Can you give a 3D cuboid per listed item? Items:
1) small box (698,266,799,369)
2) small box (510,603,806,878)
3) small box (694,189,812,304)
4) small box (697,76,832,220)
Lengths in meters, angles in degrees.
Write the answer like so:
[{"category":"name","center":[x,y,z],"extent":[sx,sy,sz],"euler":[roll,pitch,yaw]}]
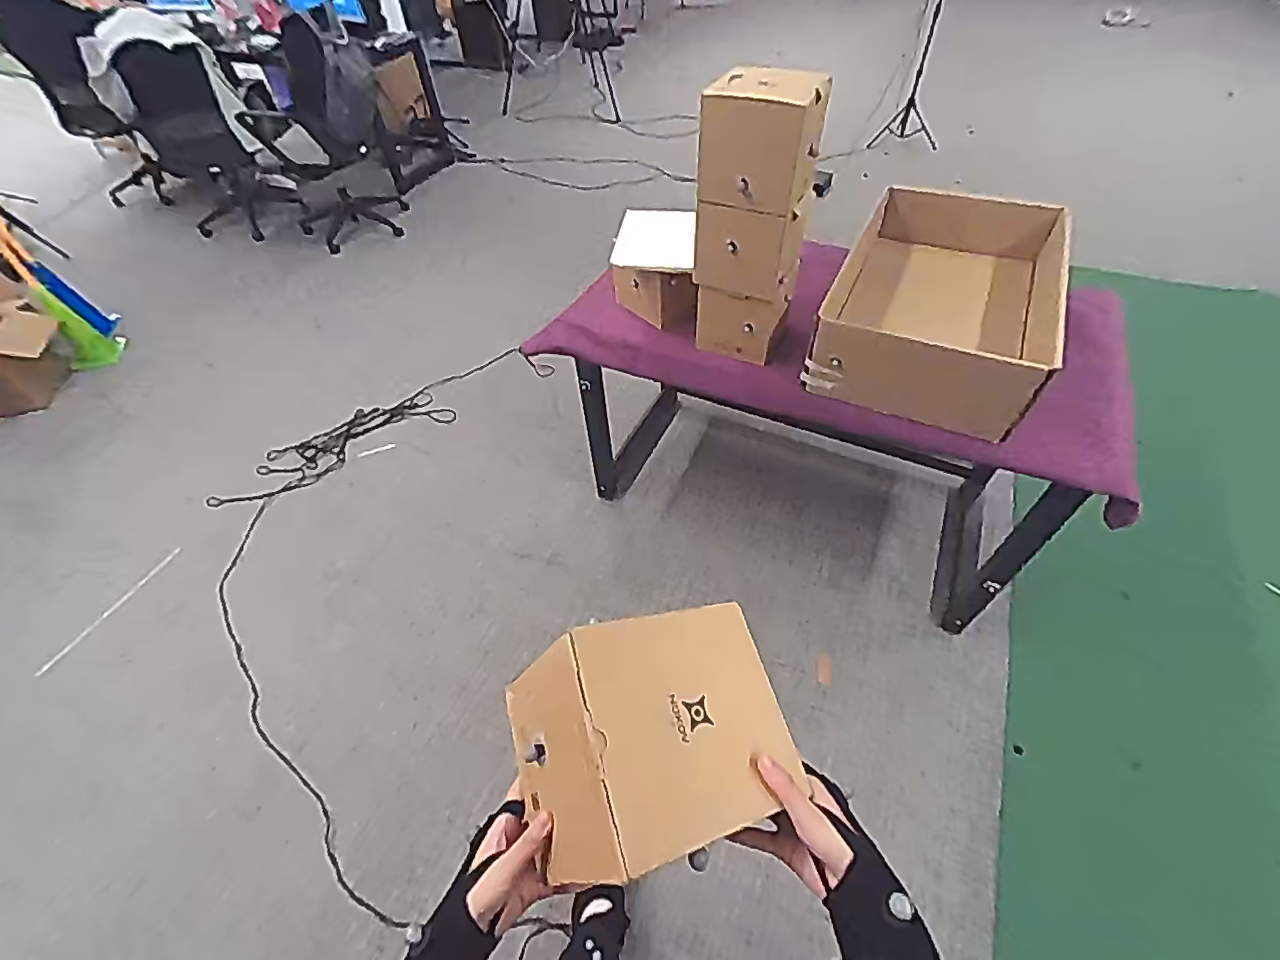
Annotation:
[{"category":"small box","center":[0.237,-0.374,1.205],"extent":[0.168,0.176,0.179],"euler":[21,53,19]},{"category":"small box","center":[0.003,0.224,0.479],"extent":[0.179,0.176,0.168],"euler":[0,57,-32]},{"category":"small box","center":[0.220,-0.475,1.078],"extent":[0.179,0.176,0.168],"euler":[20,53,19]},{"category":"small box","center":[0.213,-0.582,0.952],"extent":[0.179,0.176,0.168],"euler":[21,53,18]}]
